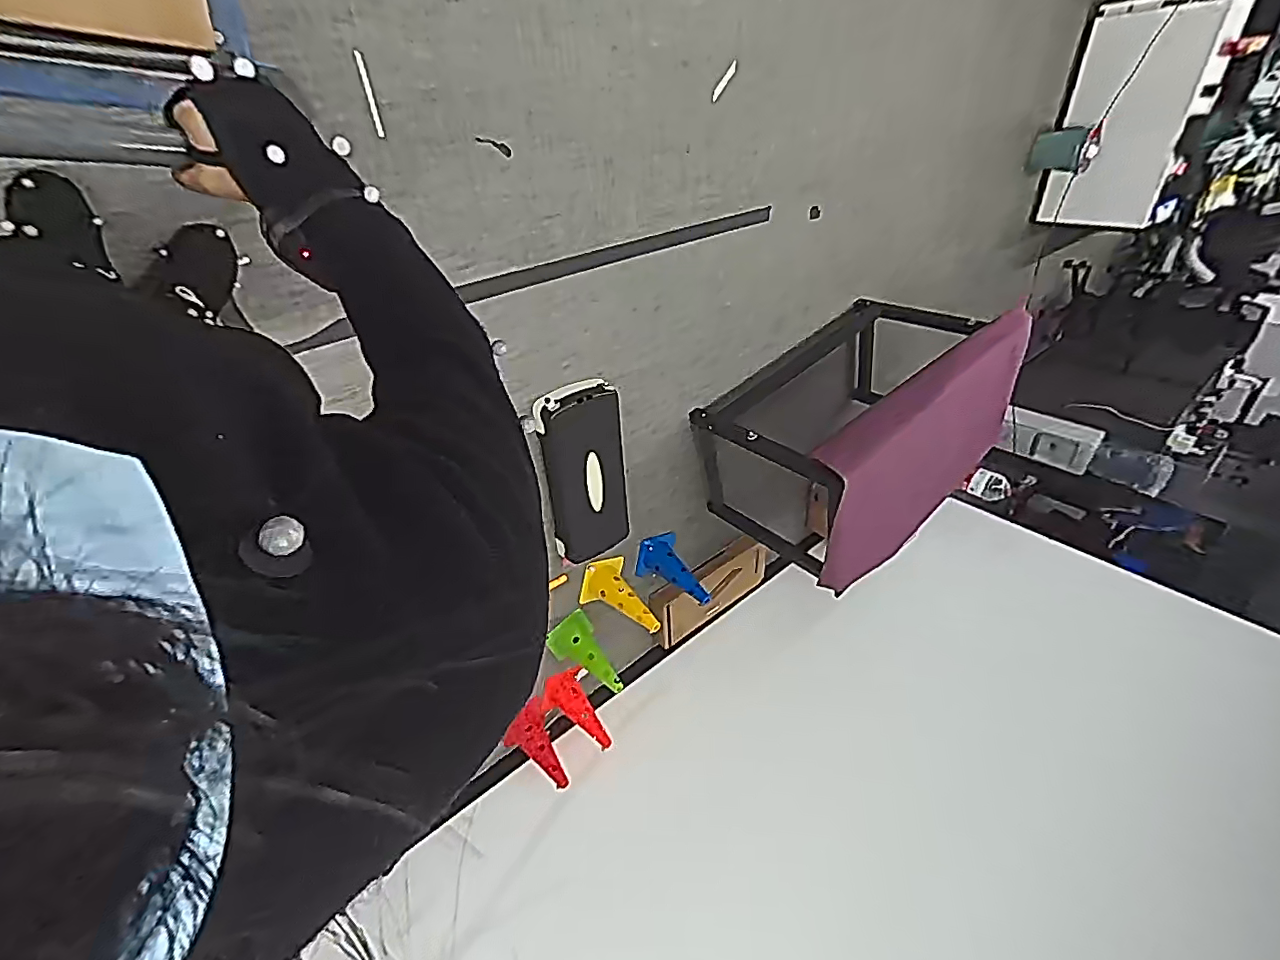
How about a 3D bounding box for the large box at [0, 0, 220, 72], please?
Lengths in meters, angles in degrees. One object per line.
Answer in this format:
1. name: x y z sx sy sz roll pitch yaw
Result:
1. large box: -0.761 -0.663 0.583 0.408 0.320 0.320 -19 129 -35
